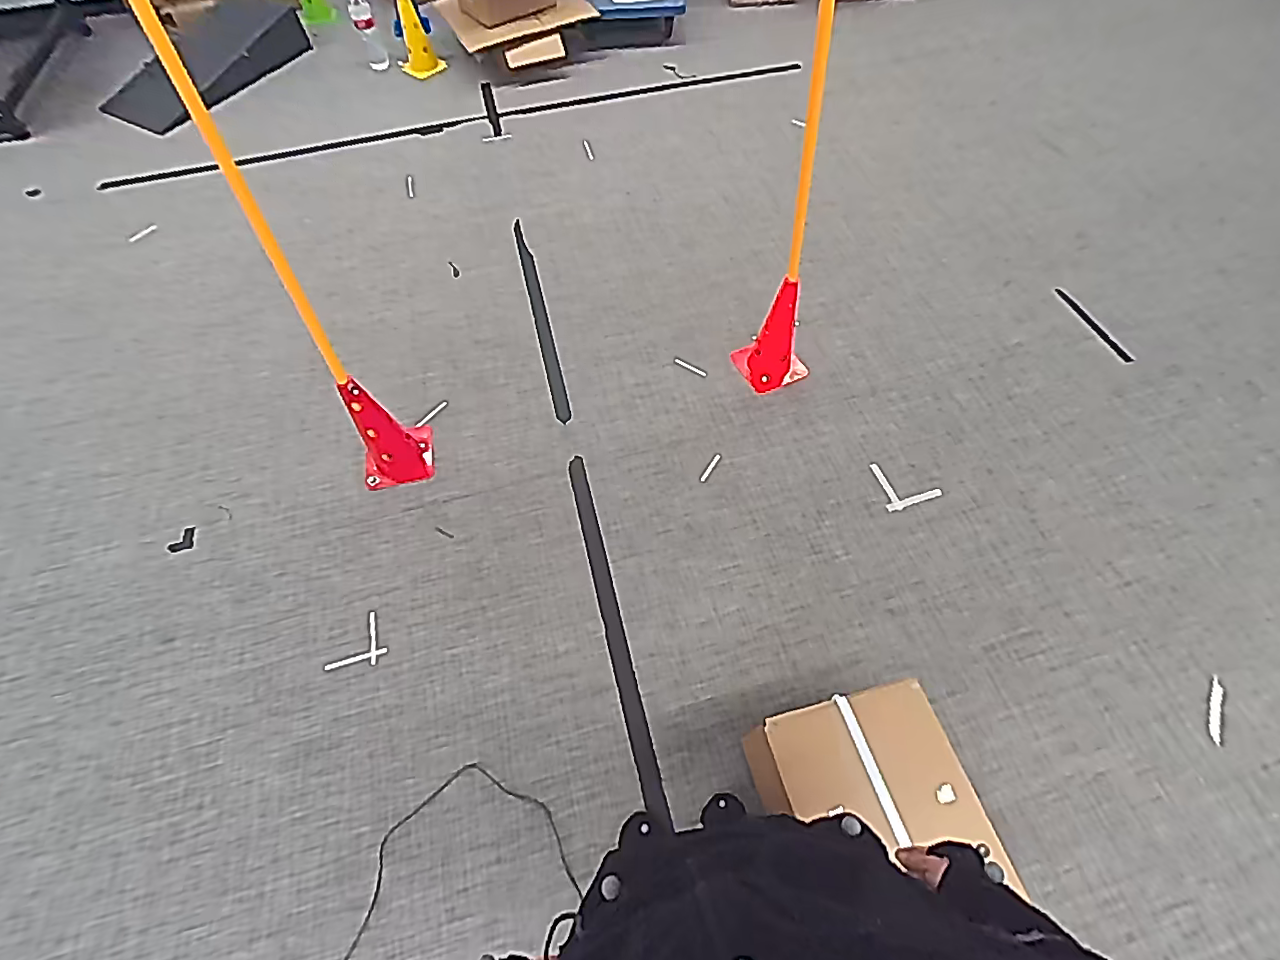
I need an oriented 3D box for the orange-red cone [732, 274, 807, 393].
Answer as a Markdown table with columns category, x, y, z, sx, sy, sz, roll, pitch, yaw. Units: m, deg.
| category | x | y | z | sx | sy | sz | roll | pitch | yaw |
| --- | --- | --- | --- | --- | --- | --- | --- | --- | --- |
| orange-red cone | 0.427 | -0.467 | 1.636 | 0.199 | 0.360 | 0.198 | -21 | 63 | -12 |
